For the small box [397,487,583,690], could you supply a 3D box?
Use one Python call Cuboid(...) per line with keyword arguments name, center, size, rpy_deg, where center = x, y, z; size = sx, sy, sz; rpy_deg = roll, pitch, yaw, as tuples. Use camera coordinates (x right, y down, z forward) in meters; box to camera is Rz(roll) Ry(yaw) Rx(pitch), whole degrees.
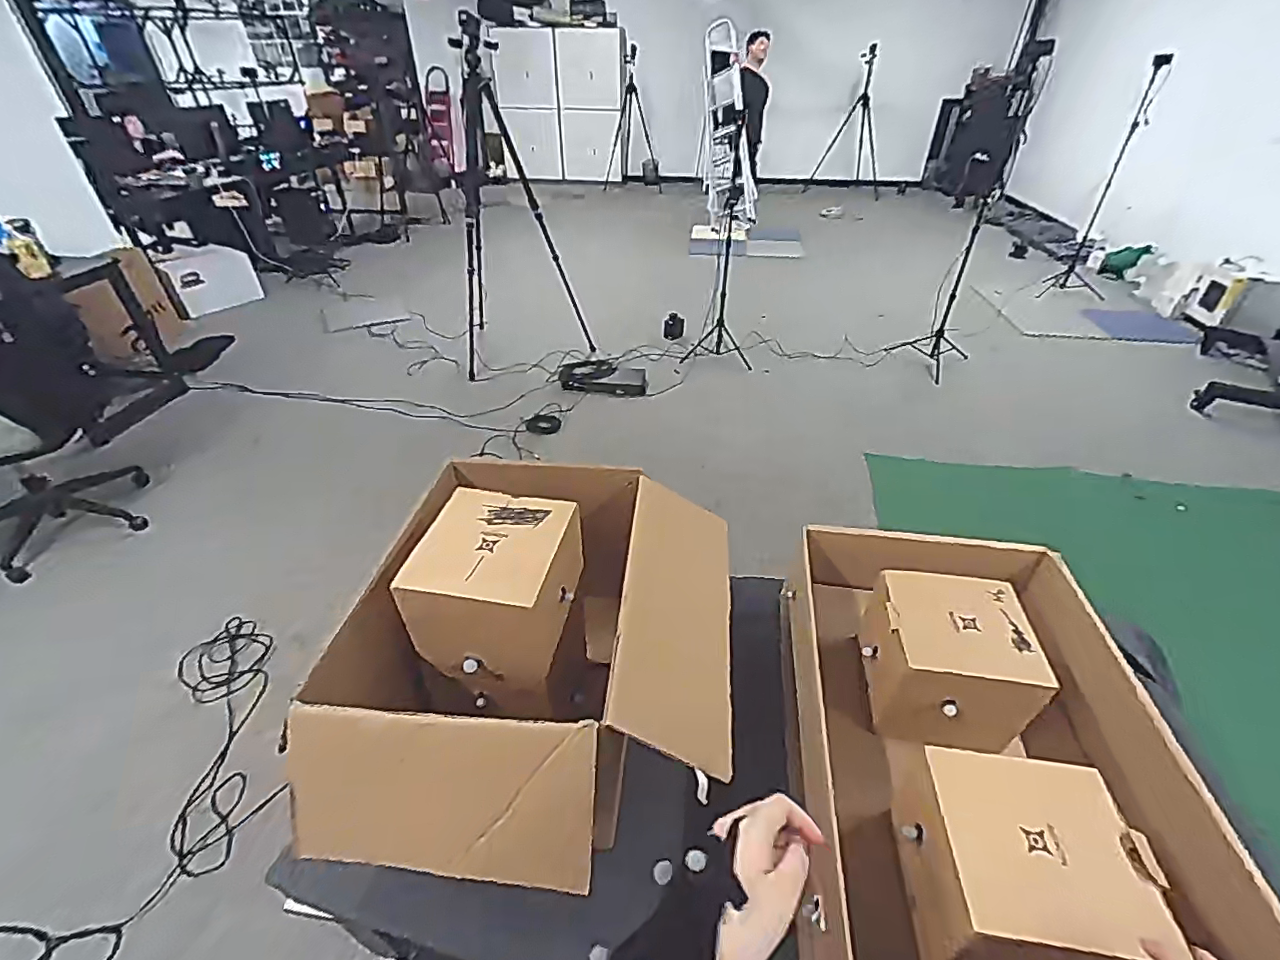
Cuboid(name="small box", center=(-0.174, 0.136, 0.693), size=(0.168, 0.176, 0.179), rpy_deg=(7, 40, 8))
